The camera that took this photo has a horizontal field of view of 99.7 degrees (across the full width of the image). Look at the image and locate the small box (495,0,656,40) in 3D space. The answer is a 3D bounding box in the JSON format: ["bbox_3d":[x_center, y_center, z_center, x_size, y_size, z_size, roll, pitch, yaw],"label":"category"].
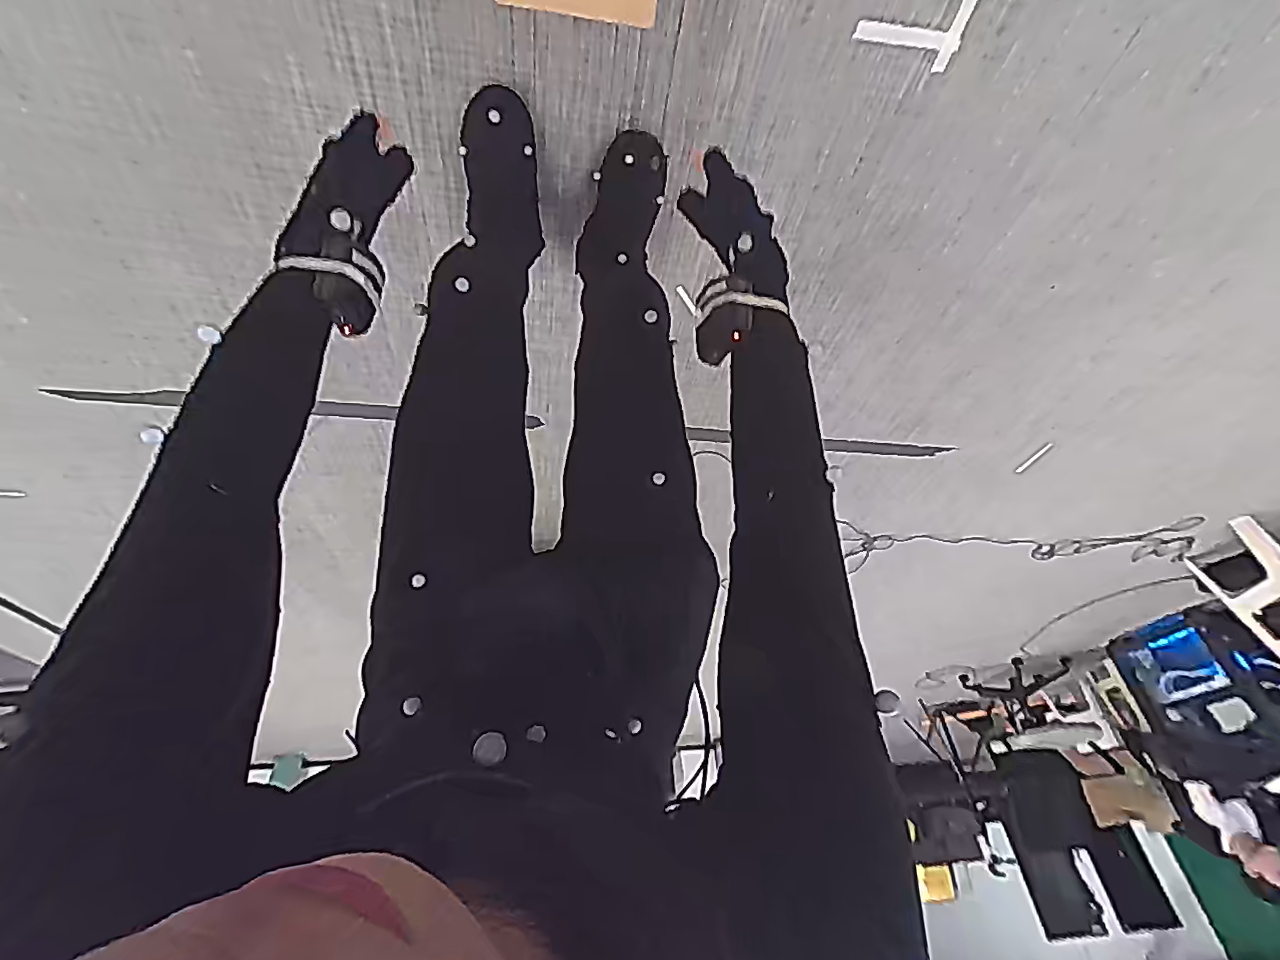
[{"bbox_3d":[-0.066,-0.619,0.589,0.179,0.176,0.168,3,142,-9],"label":"small box"}]
